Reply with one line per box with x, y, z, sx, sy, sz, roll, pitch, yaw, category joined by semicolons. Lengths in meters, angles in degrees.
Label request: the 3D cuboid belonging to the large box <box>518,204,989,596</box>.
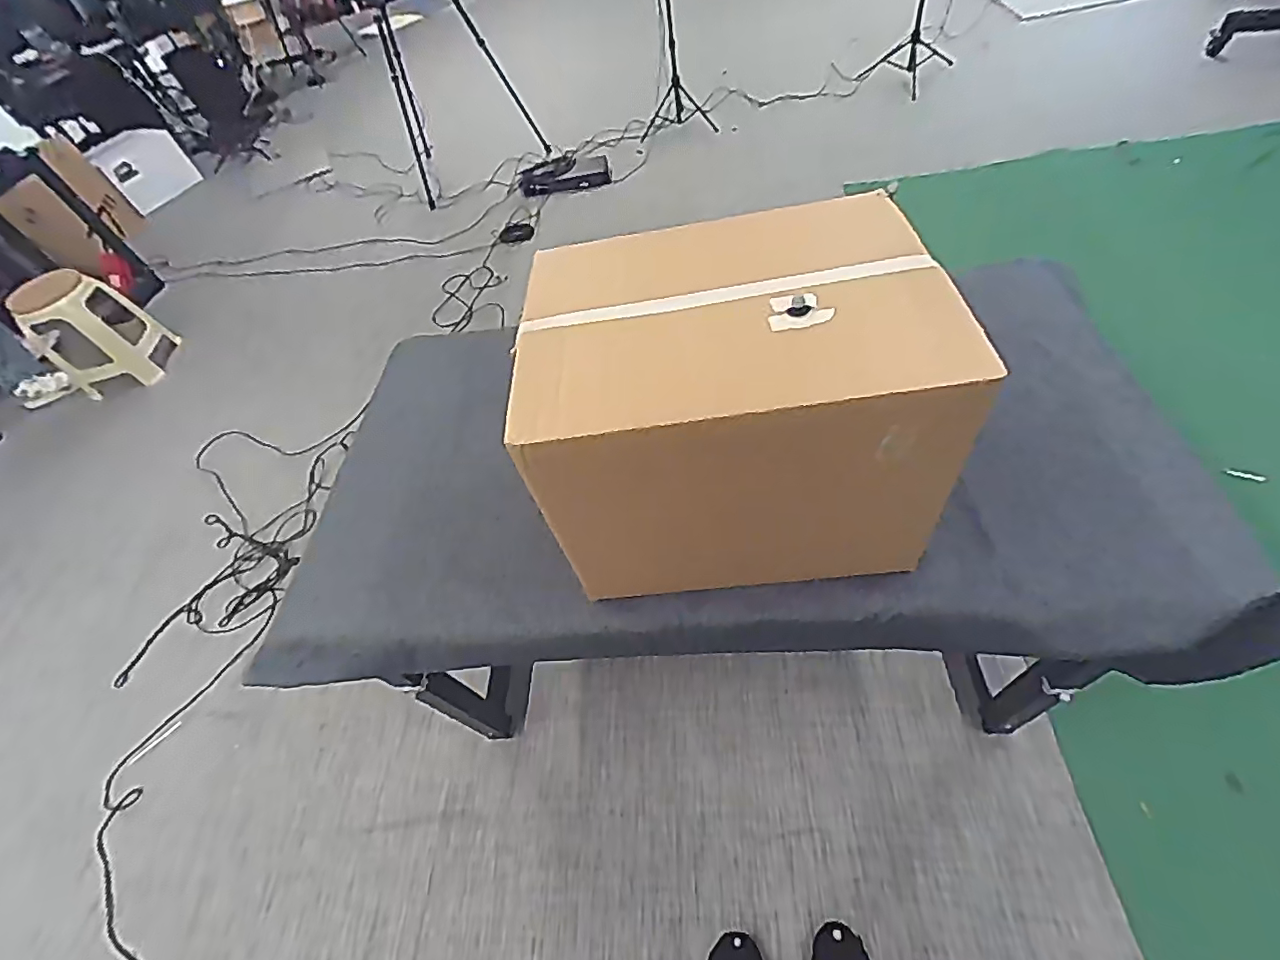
0.102;-0.082;0.658;0.408;0.320;0.320;-7;52;6;large box
